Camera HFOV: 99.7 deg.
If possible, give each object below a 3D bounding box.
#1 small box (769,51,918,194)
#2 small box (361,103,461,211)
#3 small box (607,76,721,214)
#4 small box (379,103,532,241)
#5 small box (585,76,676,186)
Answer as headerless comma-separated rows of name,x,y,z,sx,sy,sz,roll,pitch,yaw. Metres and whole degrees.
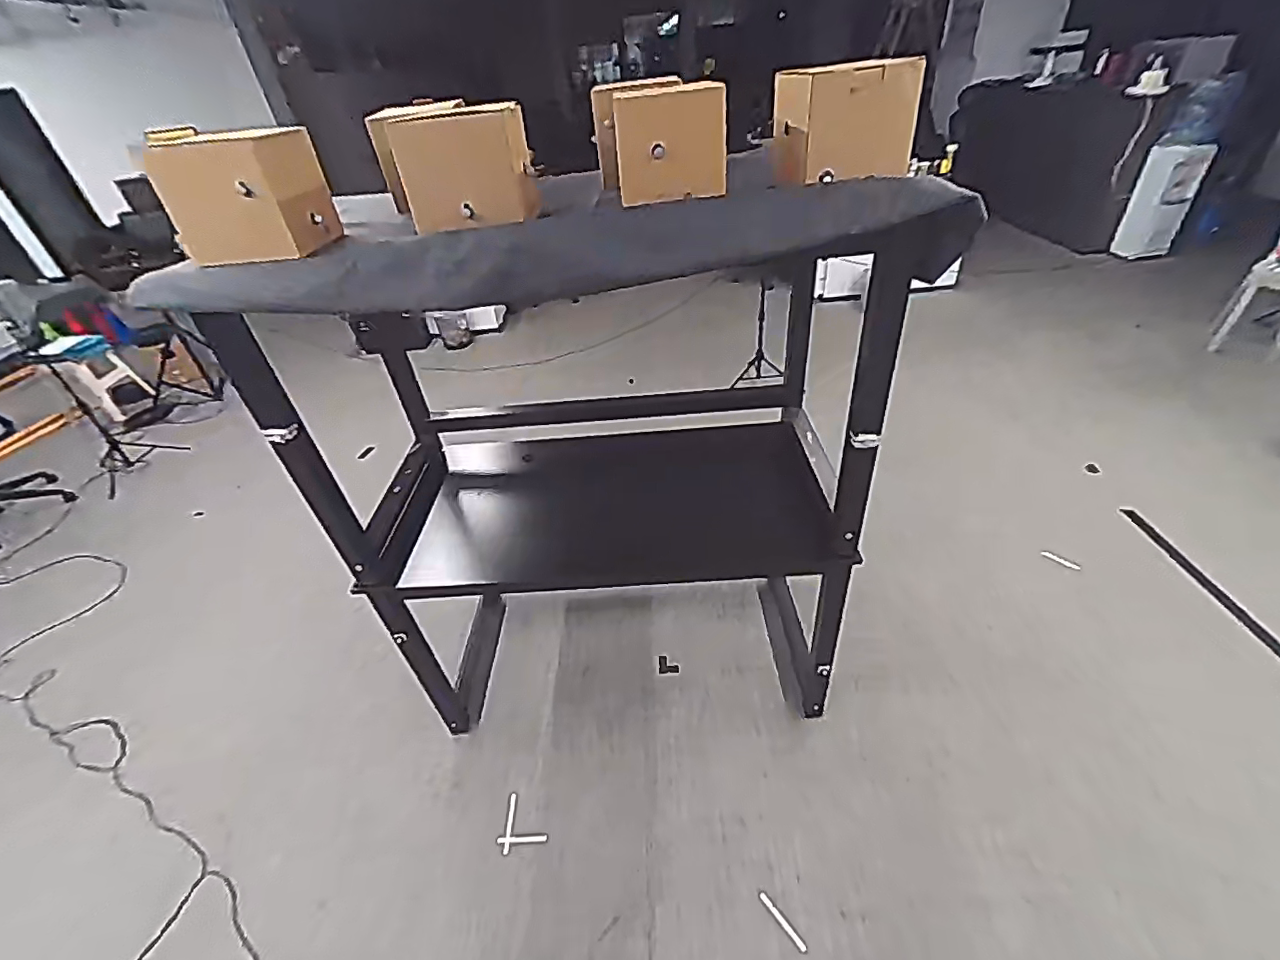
small box,0.312,-0.569,0.868,0.168,0.176,0.179,-9,36,-1
small box,-0.440,-0.667,1.118,0.168,0.176,0.179,-10,38,-2
small box,0.039,-0.546,0.888,0.168,0.176,0.179,-6,37,1
small box,-0.282,-0.500,0.877,0.179,0.176,0.168,-5,36,1
small box,-0.009,-0.718,1.115,0.179,0.176,0.168,-5,38,3
